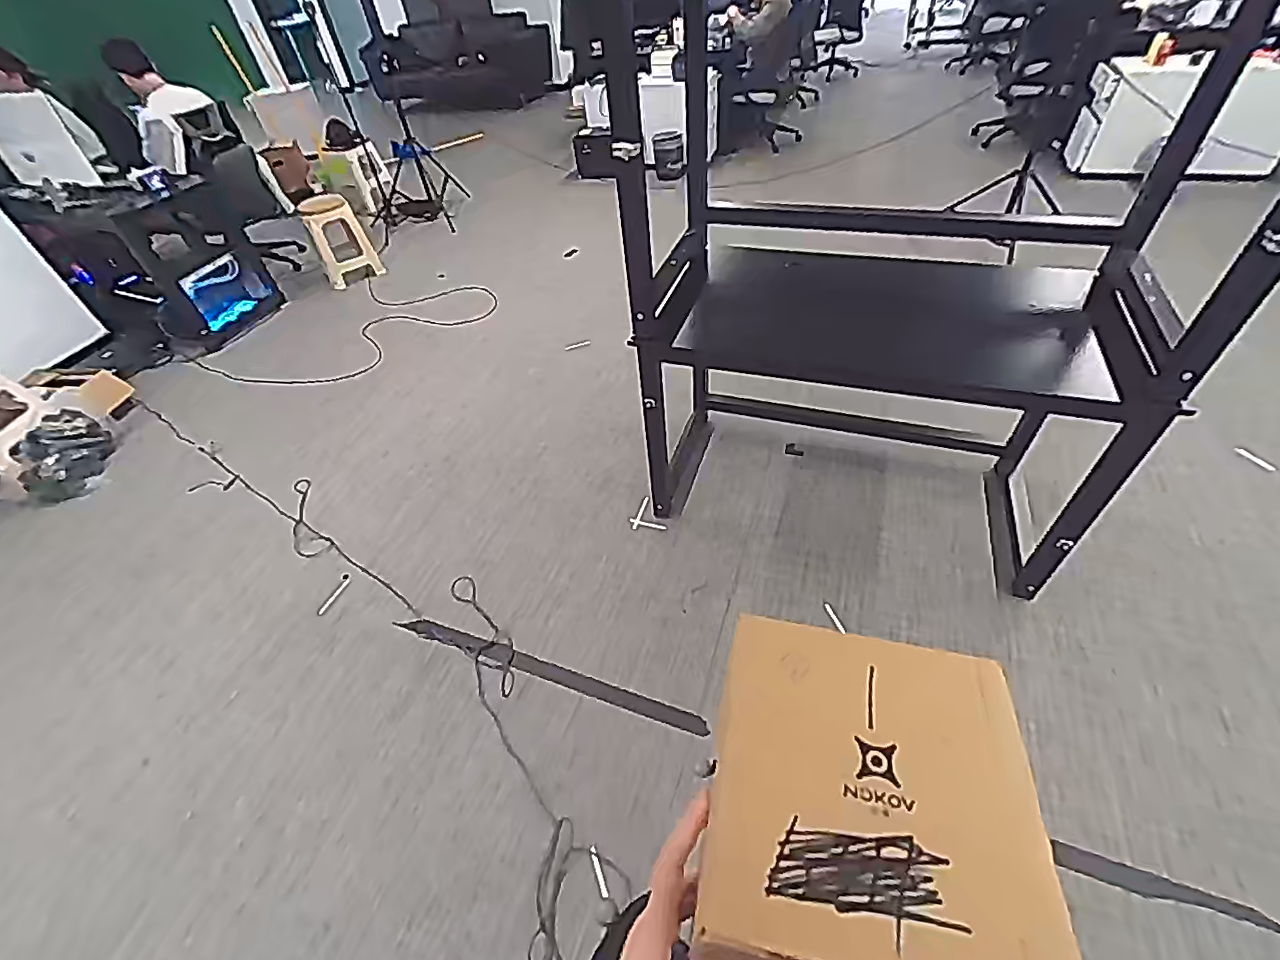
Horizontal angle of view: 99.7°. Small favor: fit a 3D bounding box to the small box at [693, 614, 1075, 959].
[{"bbox_3d":[0.128,0.219,0.348,0.168,0.176,0.179,9,44,10],"label":"small box"}]
